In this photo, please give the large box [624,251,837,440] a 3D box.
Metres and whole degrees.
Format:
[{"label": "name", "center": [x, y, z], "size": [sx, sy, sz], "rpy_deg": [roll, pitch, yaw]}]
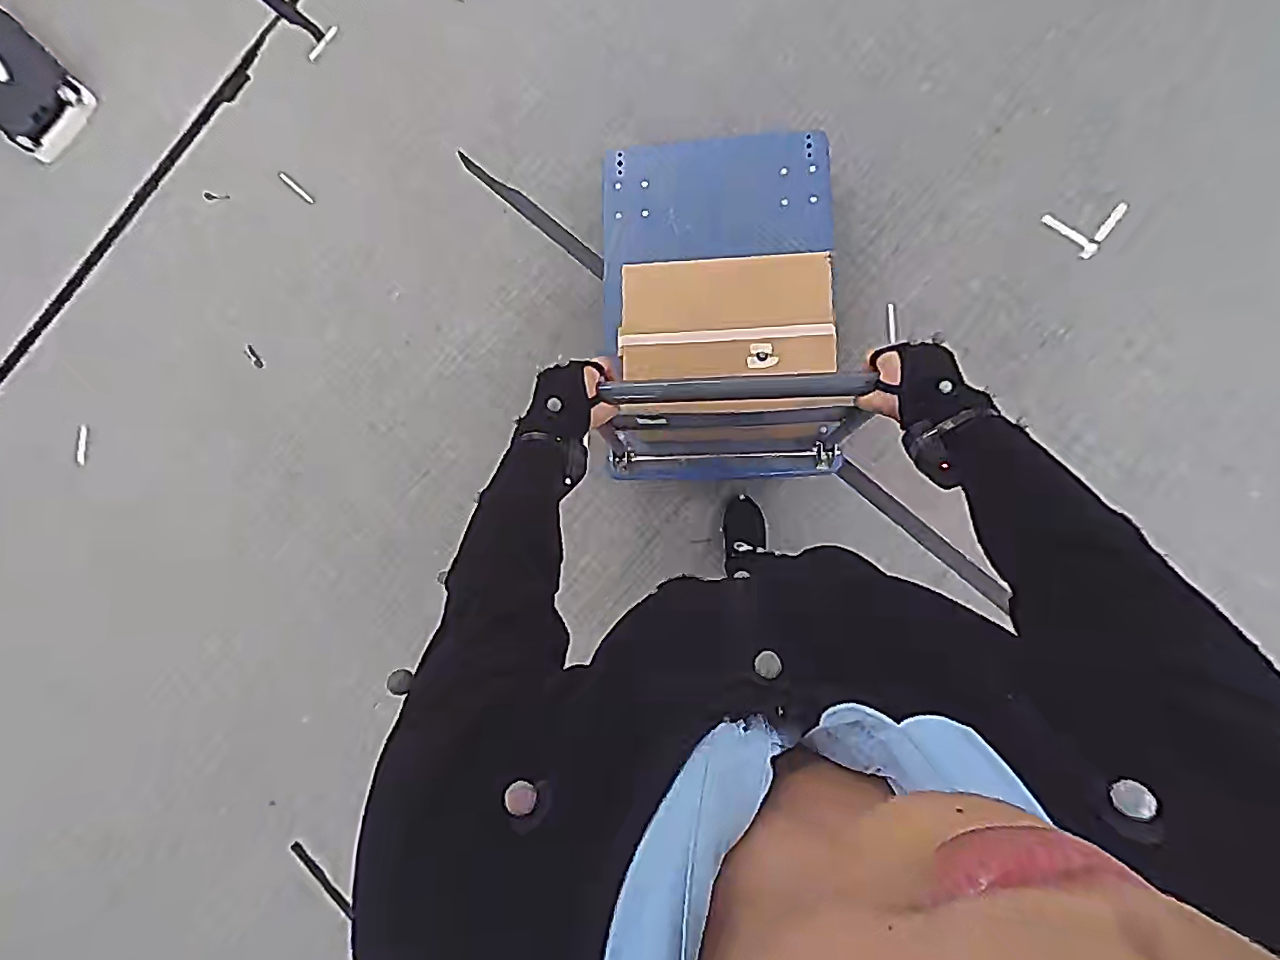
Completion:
[{"label": "large box", "center": [0.183, -0.271, 1.195], "size": [0.408, 0.320, 0.320], "rpy_deg": [-1, 86, 5]}]
